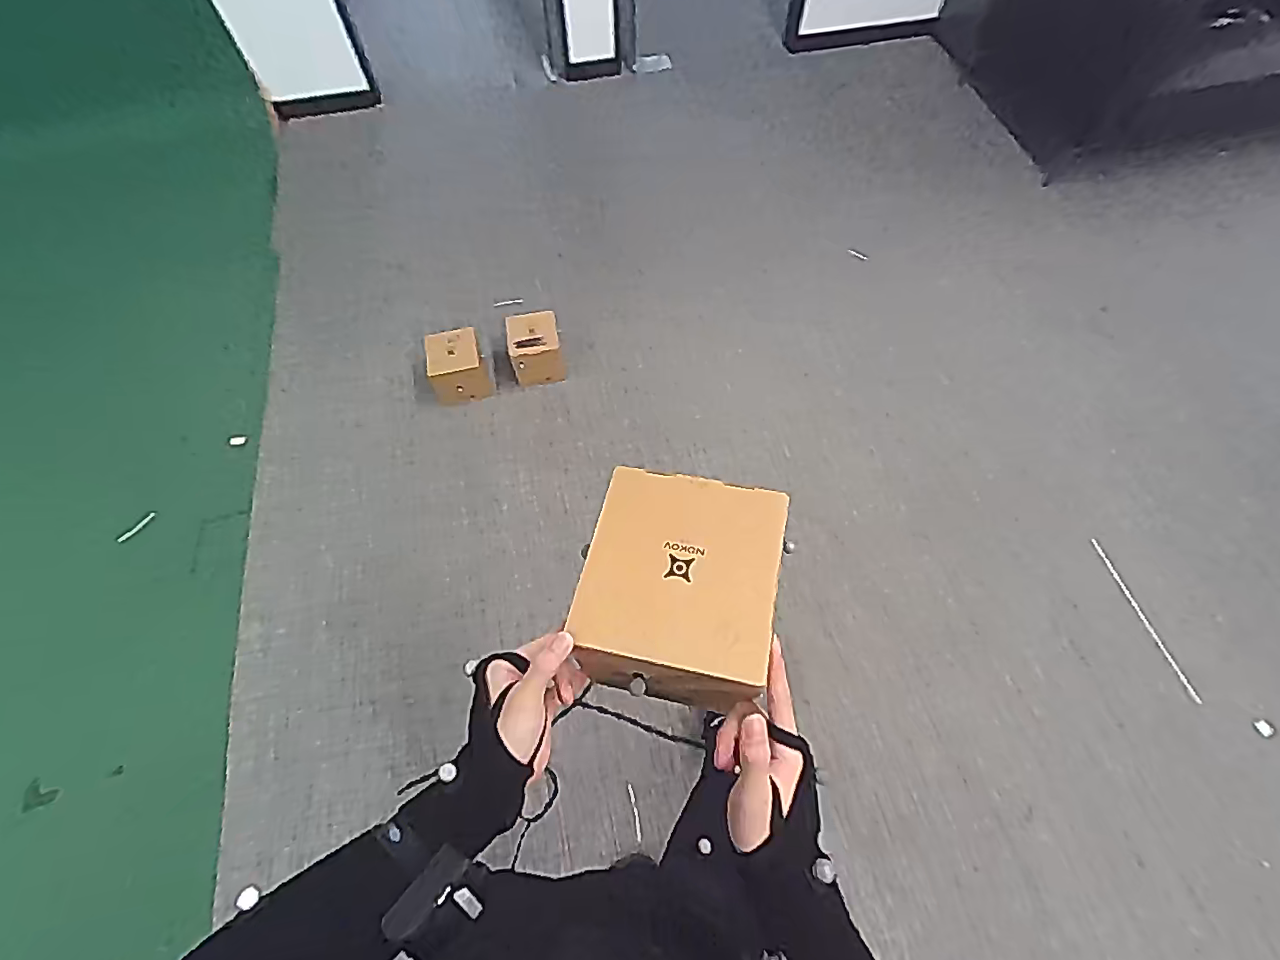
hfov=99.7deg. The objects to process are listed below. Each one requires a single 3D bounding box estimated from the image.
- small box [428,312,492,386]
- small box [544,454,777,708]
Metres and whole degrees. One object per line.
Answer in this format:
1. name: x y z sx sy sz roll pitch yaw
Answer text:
1. small box: -0.602 -0.433 1.820 0.168 0.176 0.179 -10 65 -6
2. small box: 0.028 0.102 0.517 0.168 0.176 0.179 10 59 10
